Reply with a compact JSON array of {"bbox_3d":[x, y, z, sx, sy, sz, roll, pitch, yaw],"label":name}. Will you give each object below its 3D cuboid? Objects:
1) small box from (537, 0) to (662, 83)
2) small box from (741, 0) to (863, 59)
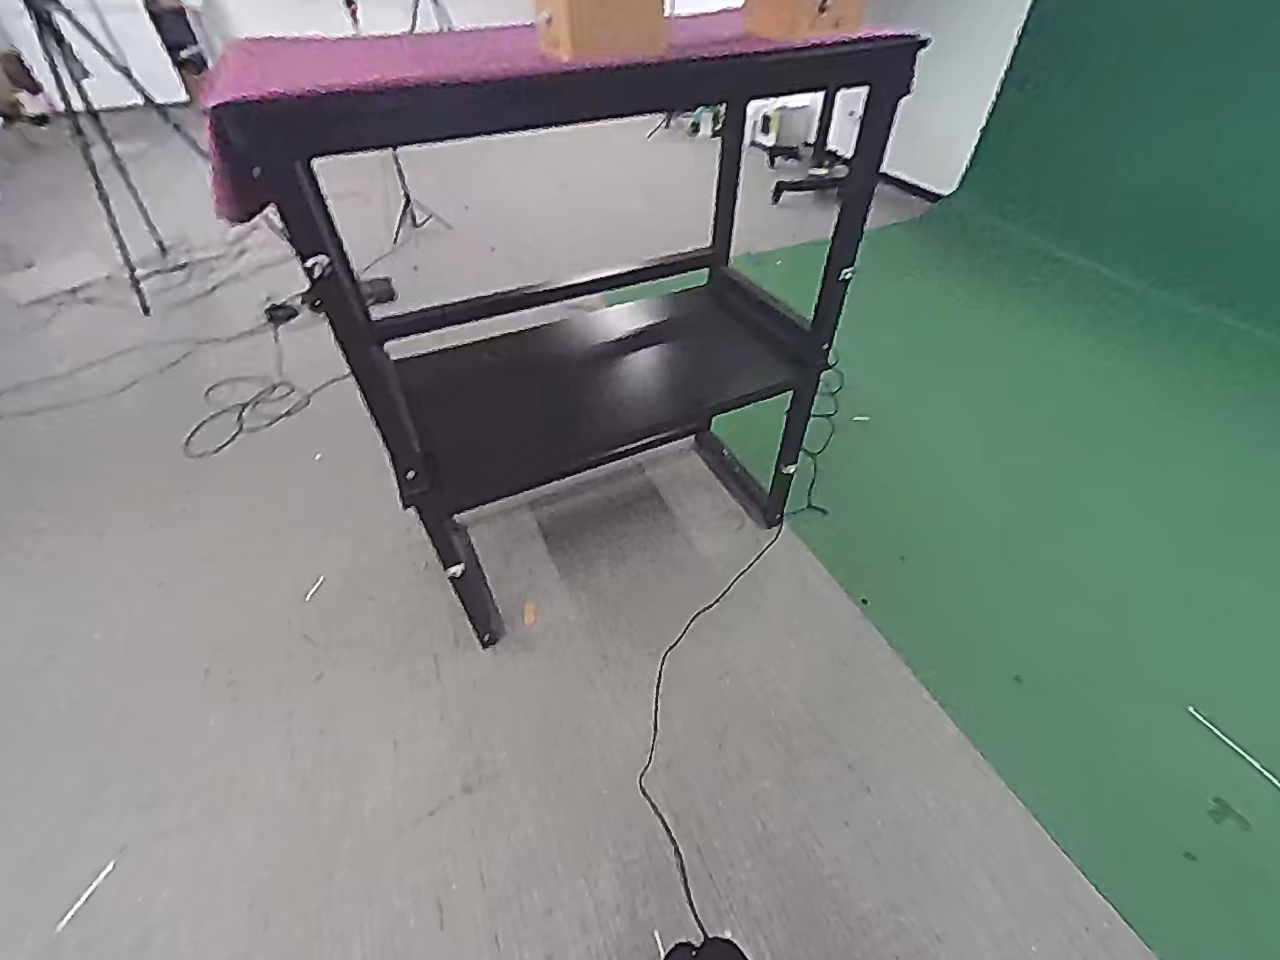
[{"bbox_3d":[-0.071,-0.789,0.908,0.179,0.176,0.168,-19,47,-16],"label":"small box"},{"bbox_3d":[0.312,-0.932,1.045,0.168,0.176,0.179,-19,49,-17],"label":"small box"}]
